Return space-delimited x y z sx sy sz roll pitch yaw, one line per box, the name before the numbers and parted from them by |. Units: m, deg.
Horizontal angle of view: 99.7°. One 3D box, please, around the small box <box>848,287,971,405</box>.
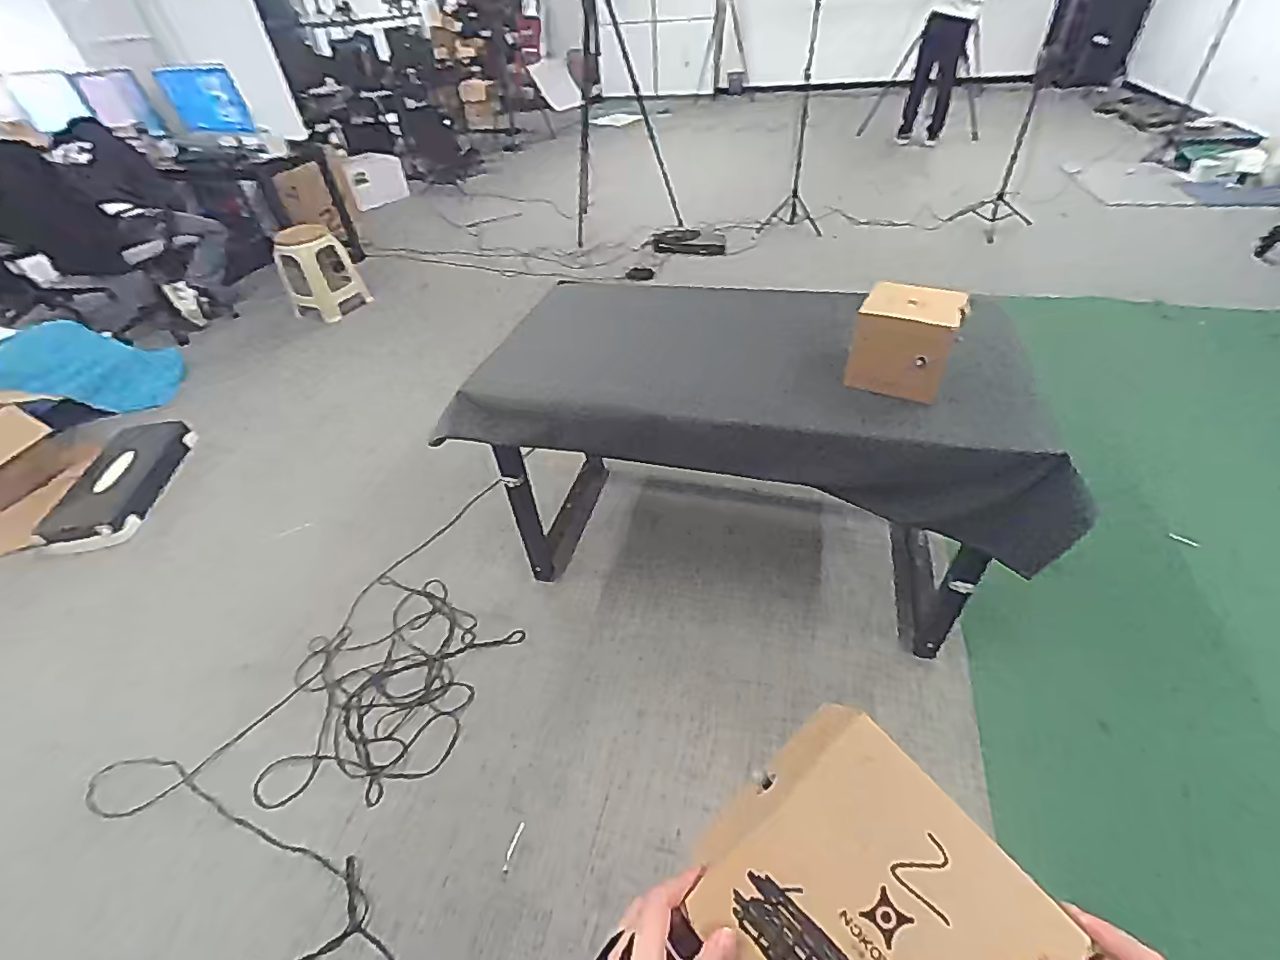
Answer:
small box | 0.545 -0.272 1.103 0.179 0.176 0.168 18 46 25
